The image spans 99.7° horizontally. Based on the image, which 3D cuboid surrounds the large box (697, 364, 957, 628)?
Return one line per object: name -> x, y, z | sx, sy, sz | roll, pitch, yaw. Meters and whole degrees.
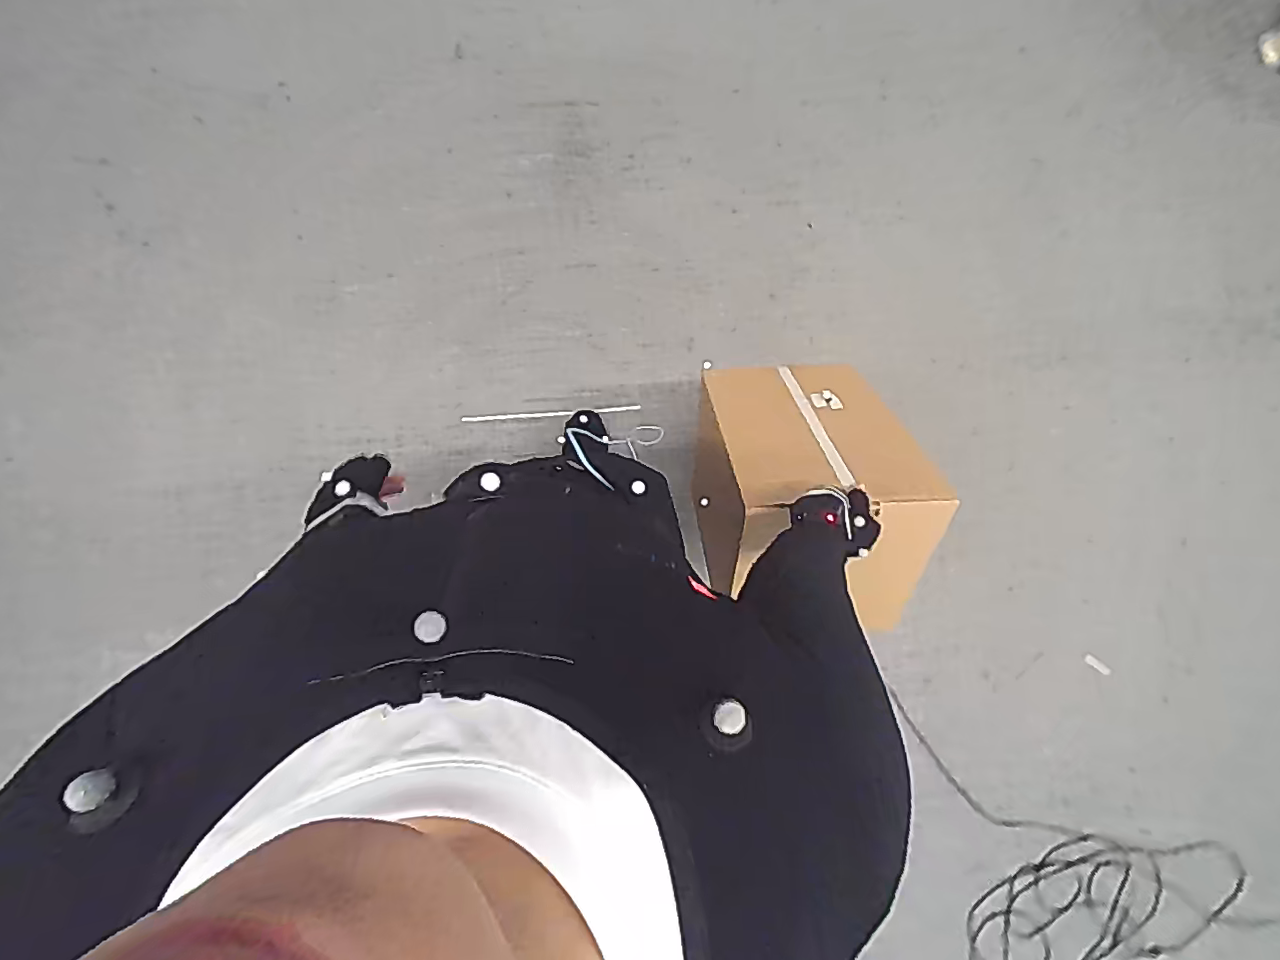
large box -> 0.295, 0.017, 1.017 | 0.320, 0.408, 0.320 | -1, 129, -4
